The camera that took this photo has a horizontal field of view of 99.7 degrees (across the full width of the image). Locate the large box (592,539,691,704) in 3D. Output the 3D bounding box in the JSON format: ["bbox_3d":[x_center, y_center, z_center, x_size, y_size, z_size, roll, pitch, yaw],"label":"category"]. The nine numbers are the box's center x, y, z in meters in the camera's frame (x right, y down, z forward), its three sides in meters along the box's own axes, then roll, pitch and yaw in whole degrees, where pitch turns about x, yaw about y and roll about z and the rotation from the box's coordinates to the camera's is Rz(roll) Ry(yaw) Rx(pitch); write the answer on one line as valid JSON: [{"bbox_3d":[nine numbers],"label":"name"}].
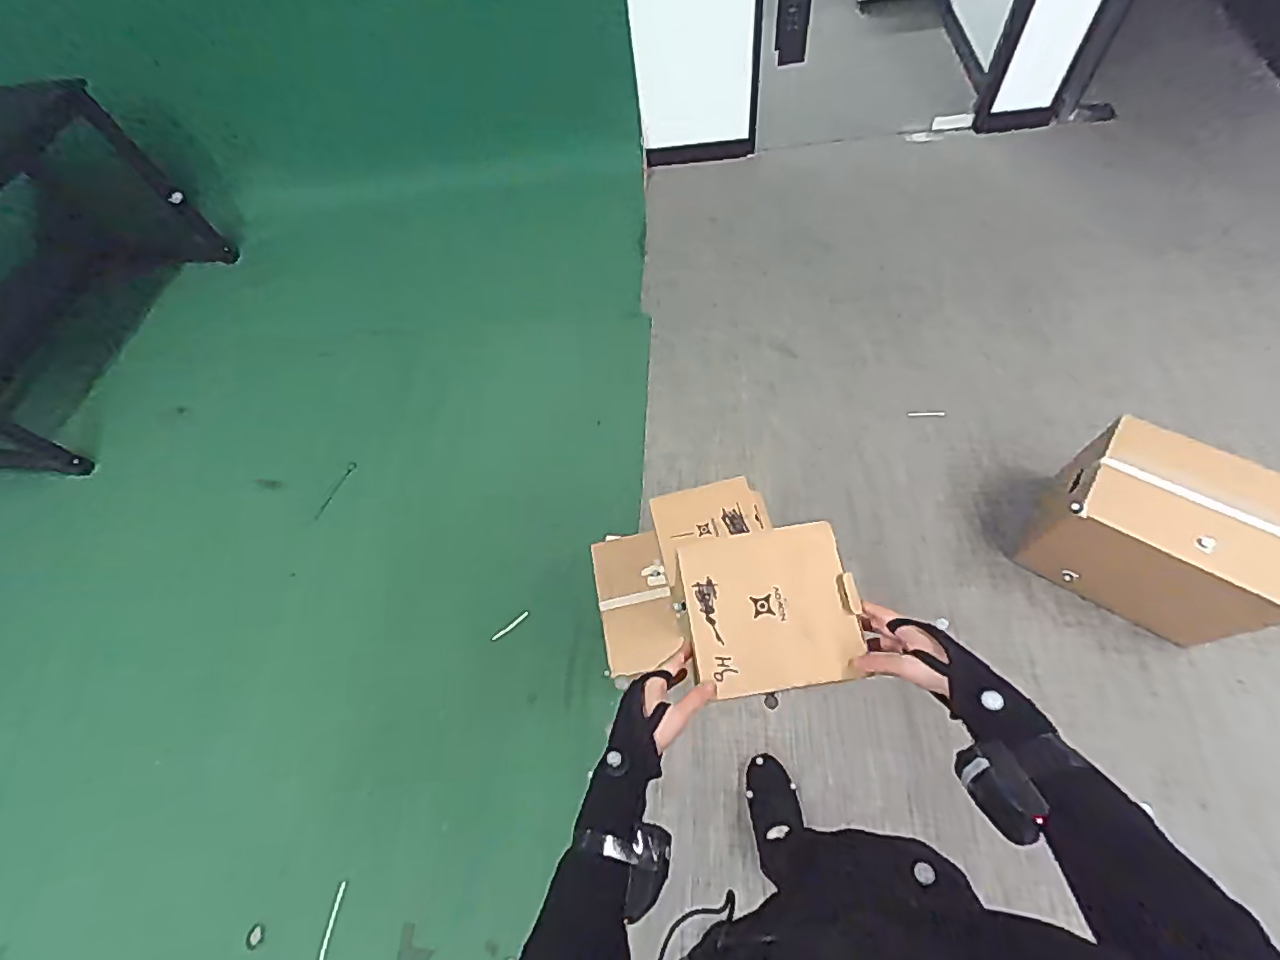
[{"bbox_3d":[0.130,0.329,1.321,0.408,0.320,0.320,-14,58,2],"label":"large box"}]

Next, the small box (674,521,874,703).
[{"bbox_3d":[0.139,0.162,0.635,0.179,0.176,0.168,-8,65,-1],"label":"small box"}]

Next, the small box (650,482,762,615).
[{"bbox_3d":[0.124,0.128,0.962,0.179,0.176,0.168,-13,60,1],"label":"small box"}]
